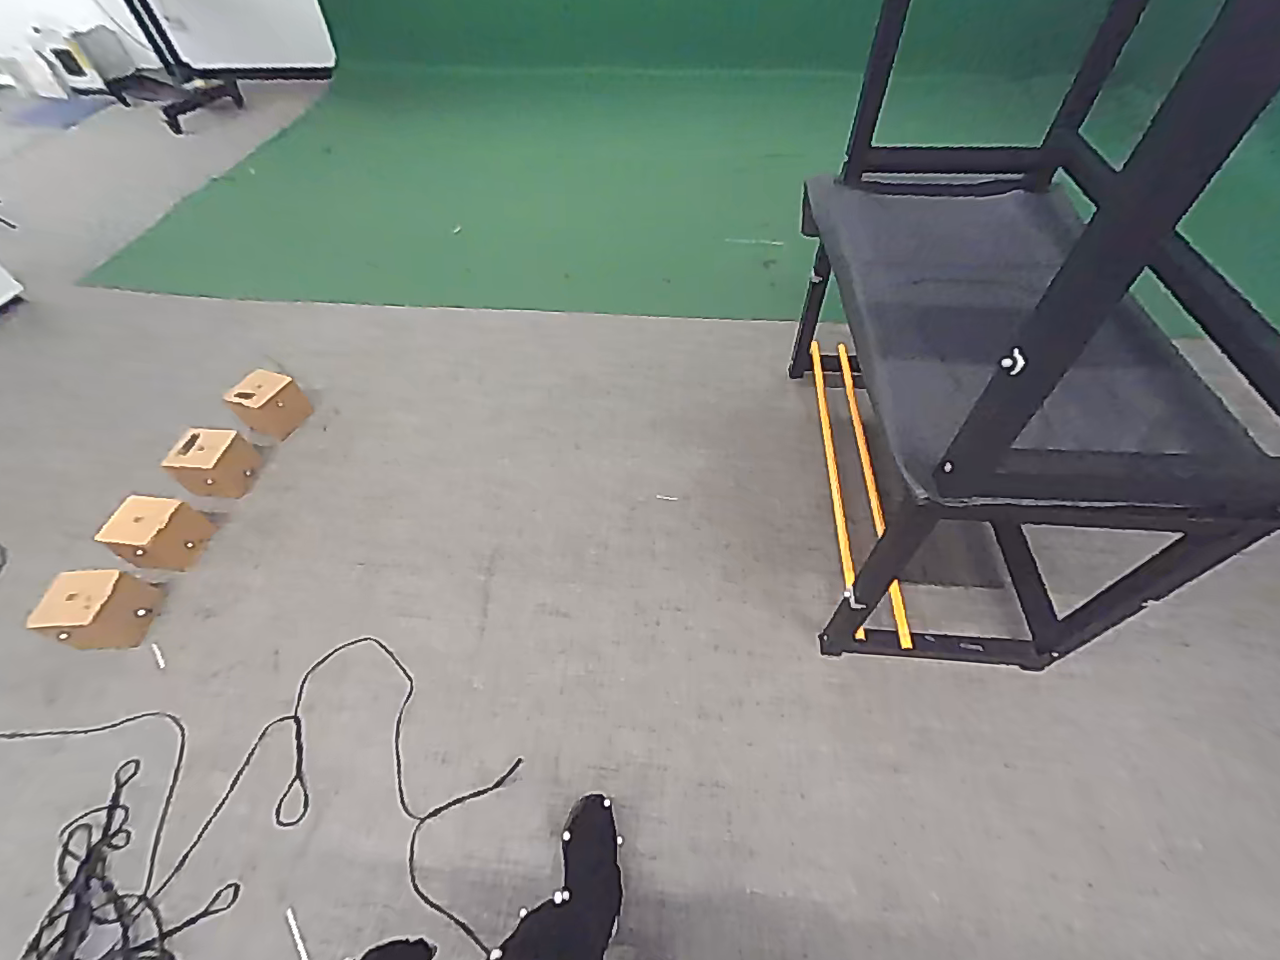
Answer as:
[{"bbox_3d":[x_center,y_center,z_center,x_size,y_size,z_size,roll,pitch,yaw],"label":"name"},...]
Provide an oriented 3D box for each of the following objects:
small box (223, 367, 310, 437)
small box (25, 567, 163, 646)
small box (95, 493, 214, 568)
[{"bbox_3d":[-1.378,-0.286,2.010,0.168,0.176,0.179,16,53,13],"label":"small box"},{"bbox_3d":[-1.517,0.358,1.518,0.179,0.176,0.168,-2,53,0],"label":"small box"},{"bbox_3d":[-1.489,0.160,1.672,0.179,0.176,0.168,4,53,4],"label":"small box"}]
